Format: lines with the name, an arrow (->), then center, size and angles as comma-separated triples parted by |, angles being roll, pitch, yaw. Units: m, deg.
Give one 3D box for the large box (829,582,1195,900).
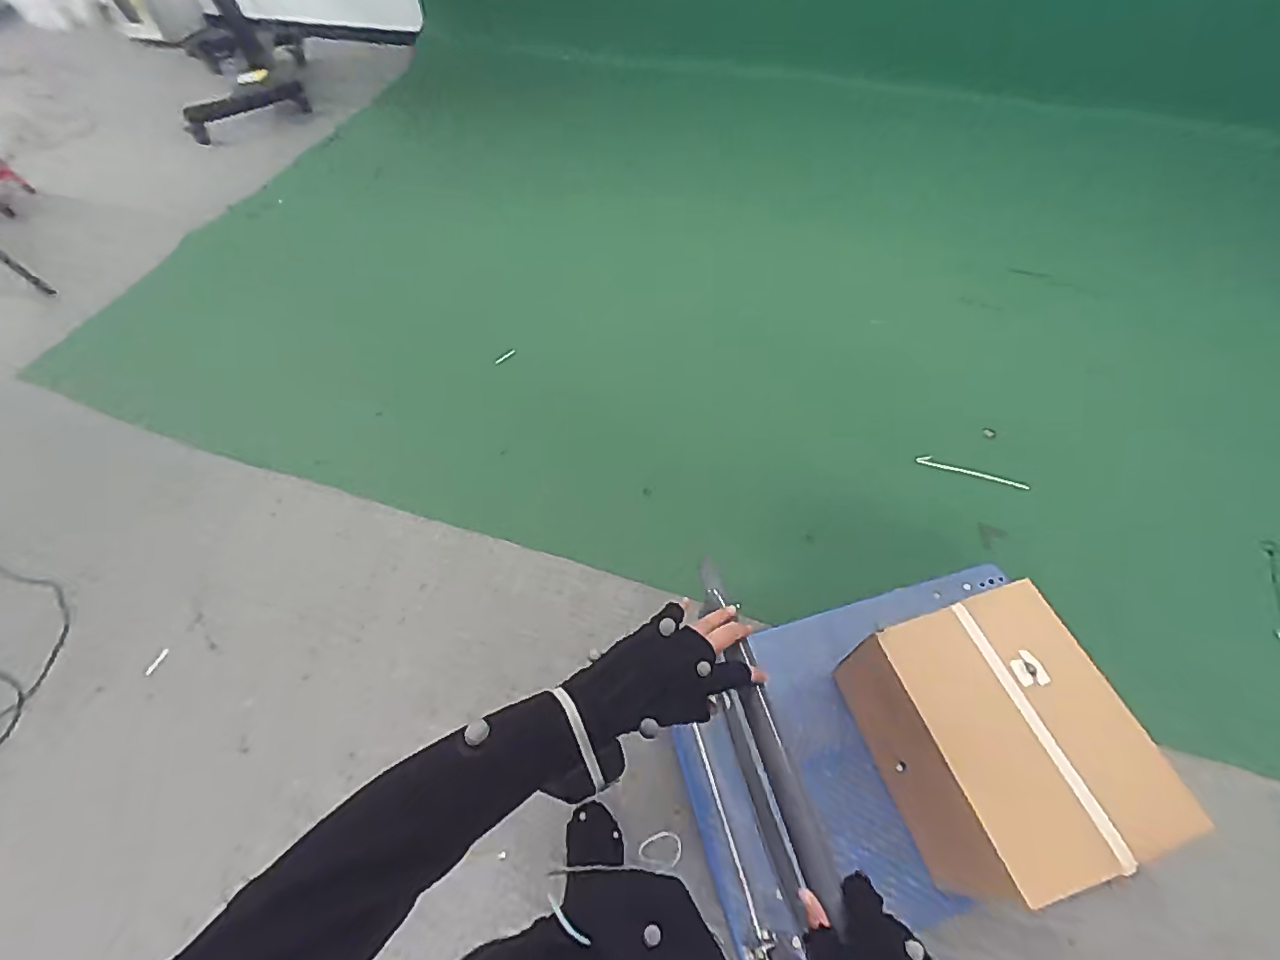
large box -> 0.612, 0.466, 0.993 | 0.320, 0.320, 0.408 | -16, 57, -8
